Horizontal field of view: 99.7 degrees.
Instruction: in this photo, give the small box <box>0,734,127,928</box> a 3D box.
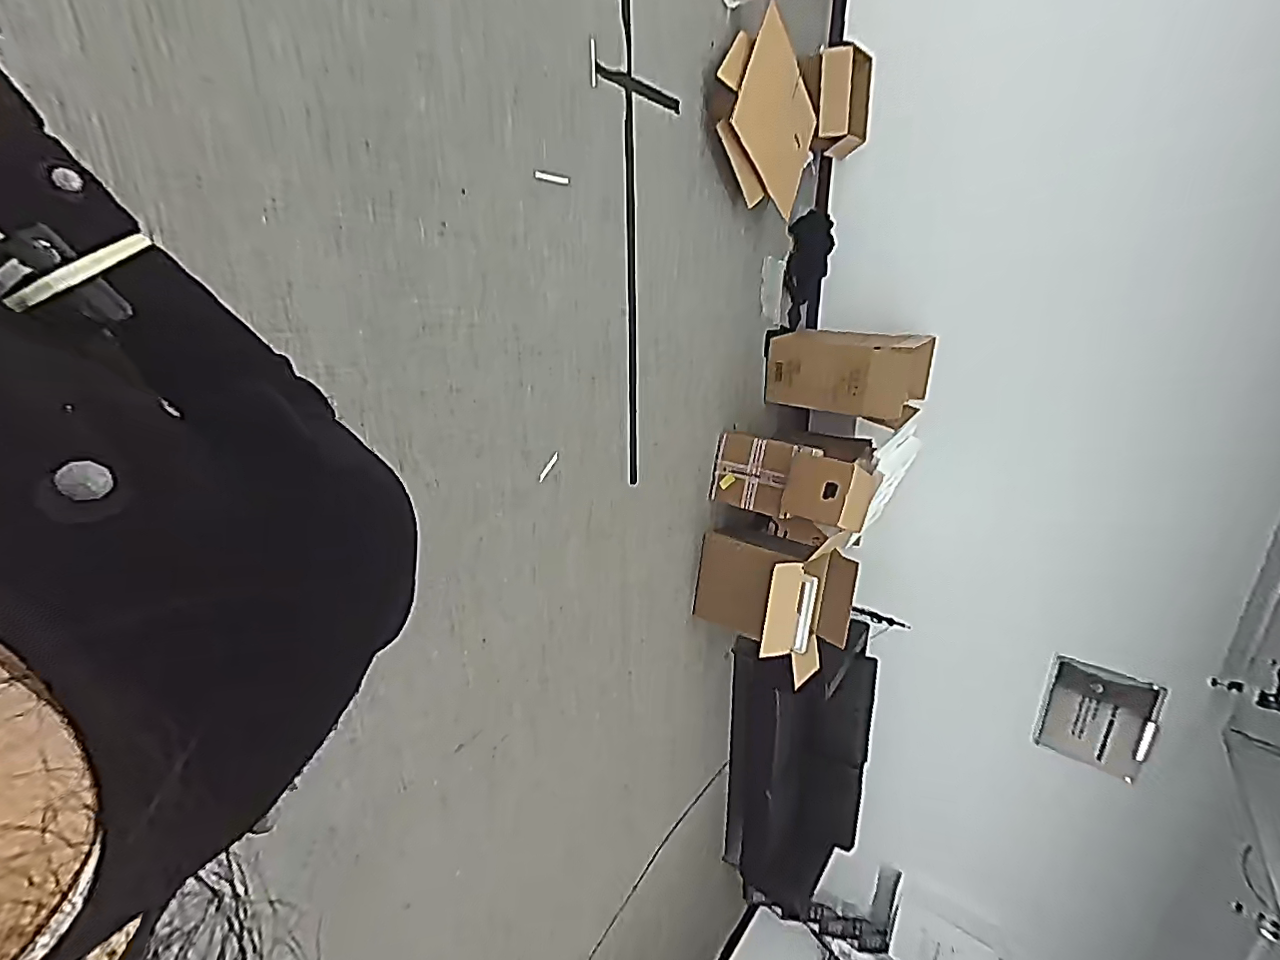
[{"bbox_3d":[-0.950,0.536,0.836,0.179,0.176,0.168,-23,118,-47],"label":"small box"}]
